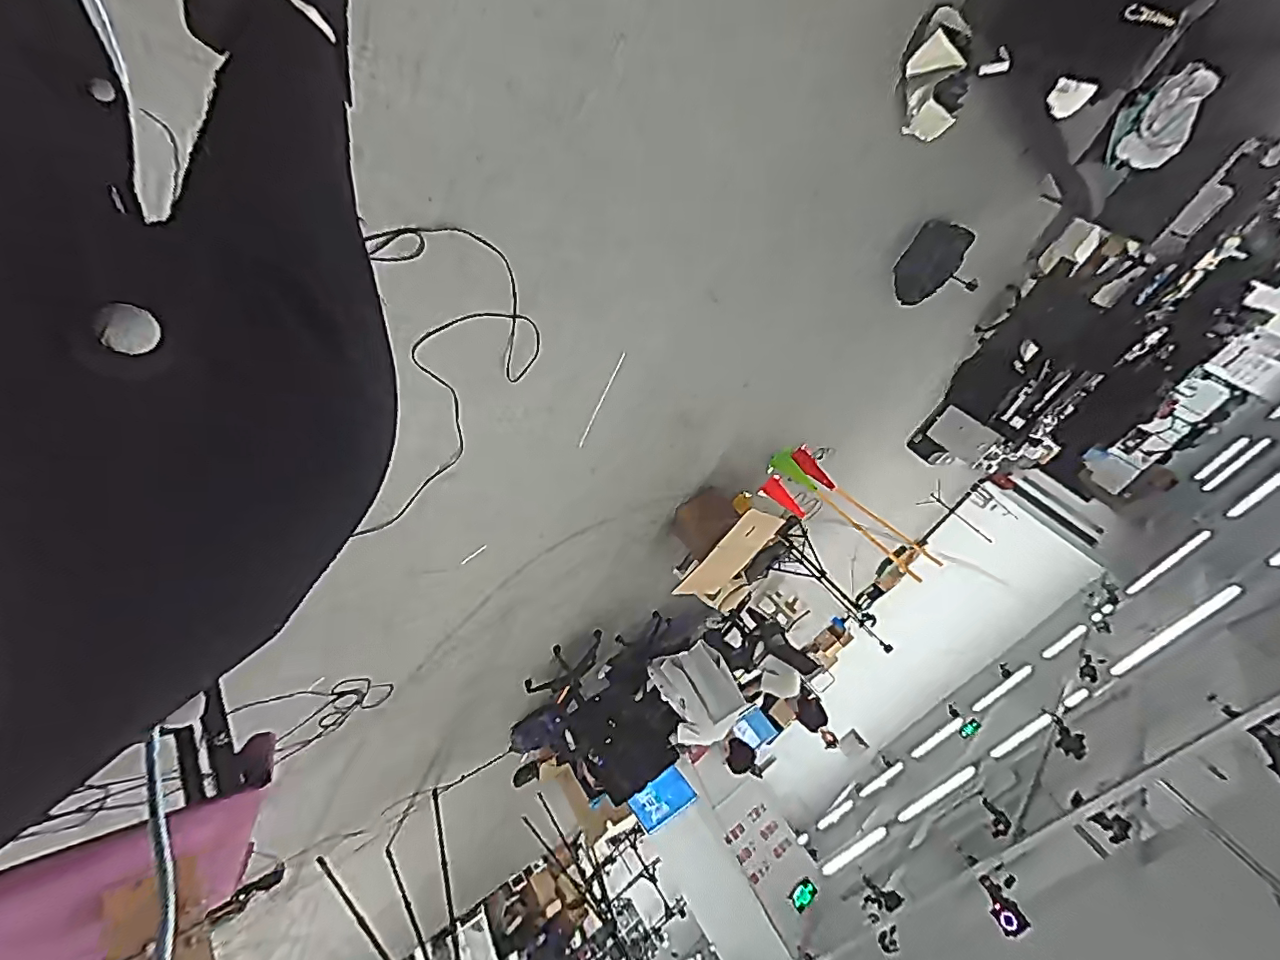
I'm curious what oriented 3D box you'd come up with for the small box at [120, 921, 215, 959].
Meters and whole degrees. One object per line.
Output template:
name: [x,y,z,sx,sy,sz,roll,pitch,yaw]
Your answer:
small box: [-1.066,1.143,1.209,0.168,0.176,0.179,0,131,-47]
